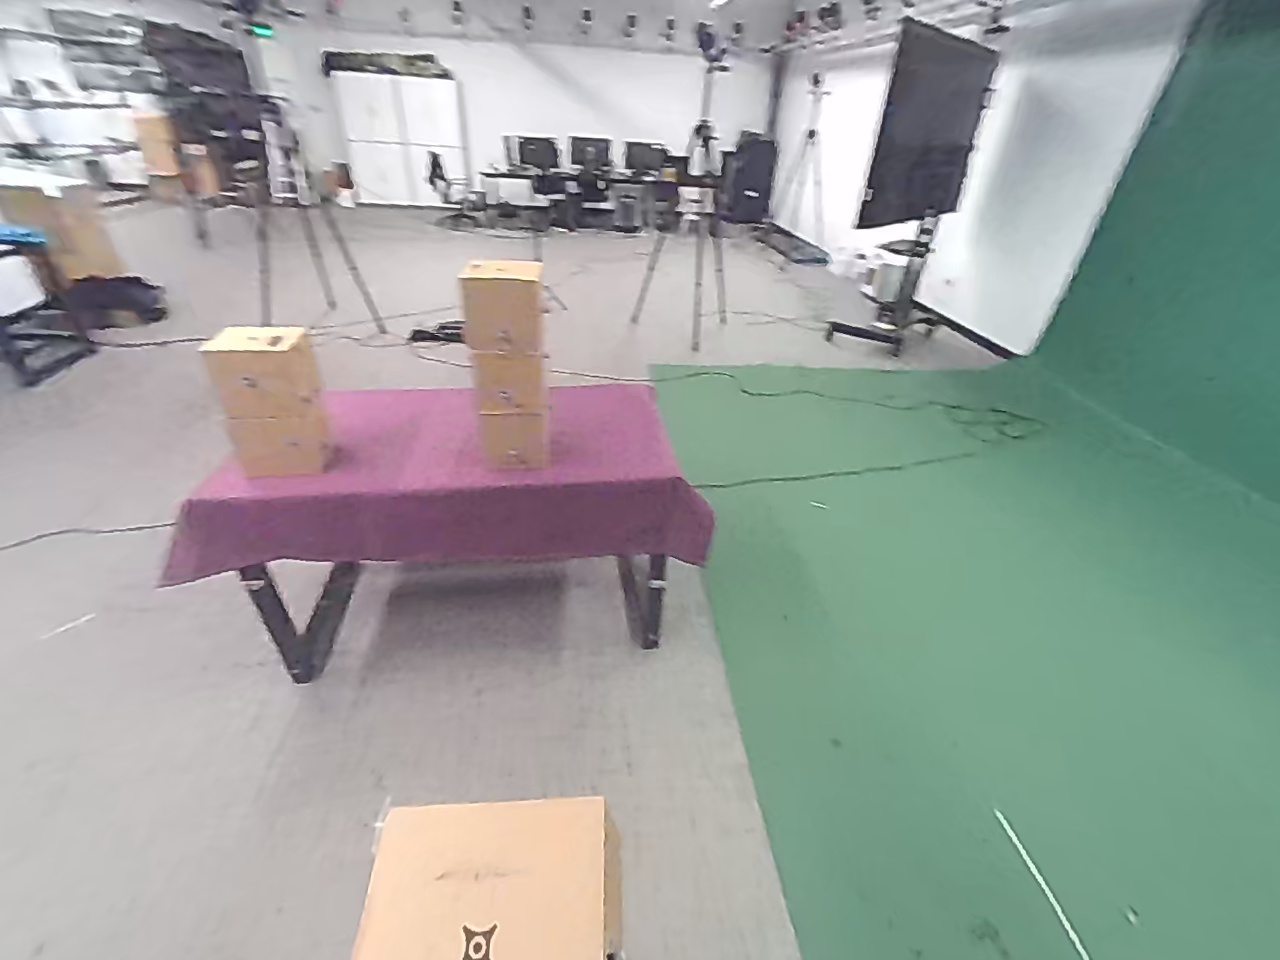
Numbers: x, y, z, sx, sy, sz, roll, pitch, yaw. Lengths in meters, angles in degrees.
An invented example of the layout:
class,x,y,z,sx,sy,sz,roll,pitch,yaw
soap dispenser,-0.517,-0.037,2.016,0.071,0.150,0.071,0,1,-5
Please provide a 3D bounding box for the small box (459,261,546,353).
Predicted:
class,x,y,z,sx,sy,sz,roll,pitch,yaw
small box,-0.319,-0.414,1.295,0.179,0.176,0.168,1,34,-5

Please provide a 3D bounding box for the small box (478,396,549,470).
class,x,y,z,sx,sy,sz,roll,pitch,yaw
small box,-0.338,-0.143,1.478,0.168,0.176,0.179,-1,34,-6

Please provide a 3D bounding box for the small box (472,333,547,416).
class,x,y,z,sx,sy,sz,roll,pitch,yaw
small box,-0.327,-0.278,1.389,0.168,0.176,0.179,-1,35,-7

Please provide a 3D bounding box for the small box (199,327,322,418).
class,x,y,z,sx,sy,sz,roll,pitch,yaw
small box,-0.897,-0.258,1.302,0.179,0.176,0.168,-3,34,-11
